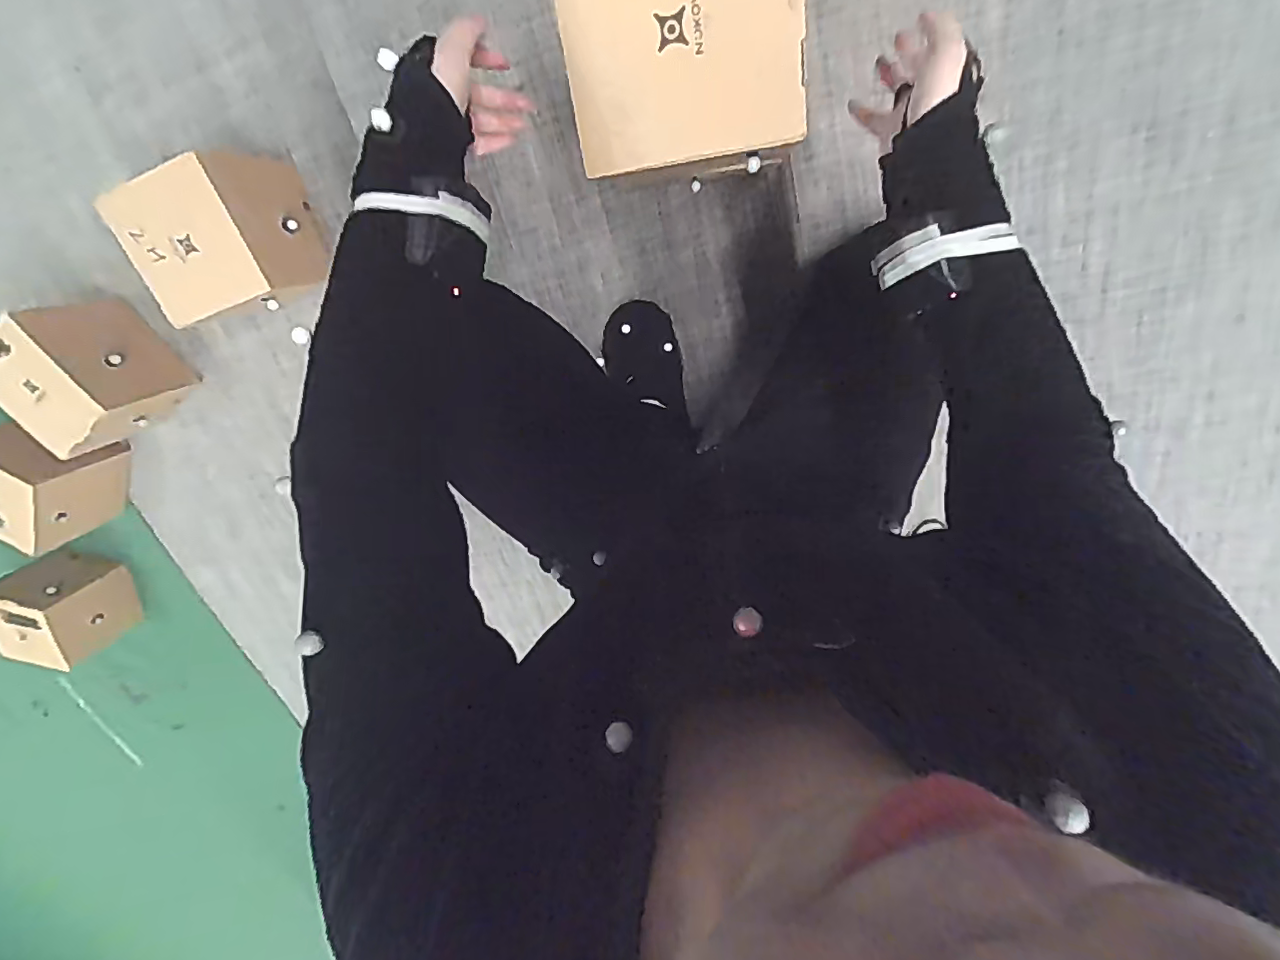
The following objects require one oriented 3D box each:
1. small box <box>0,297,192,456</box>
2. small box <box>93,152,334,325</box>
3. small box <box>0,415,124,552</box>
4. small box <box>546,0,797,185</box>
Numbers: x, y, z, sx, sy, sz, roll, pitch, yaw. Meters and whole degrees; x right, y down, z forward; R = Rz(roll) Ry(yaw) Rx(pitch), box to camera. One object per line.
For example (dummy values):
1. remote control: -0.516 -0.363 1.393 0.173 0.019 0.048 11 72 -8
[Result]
1. small box: -0.907 -0.175 0.890 0.168 0.176 0.179 -28 109 21
2. small box: -0.567 -0.333 0.754 0.179 0.176 0.168 -13 113 15
3. small box: -1.123 -0.006 1.010 0.168 0.176 0.179 30 116 -6
4. small box: 0.033 -0.358 0.460 0.179 0.176 0.168 -5 116 10
